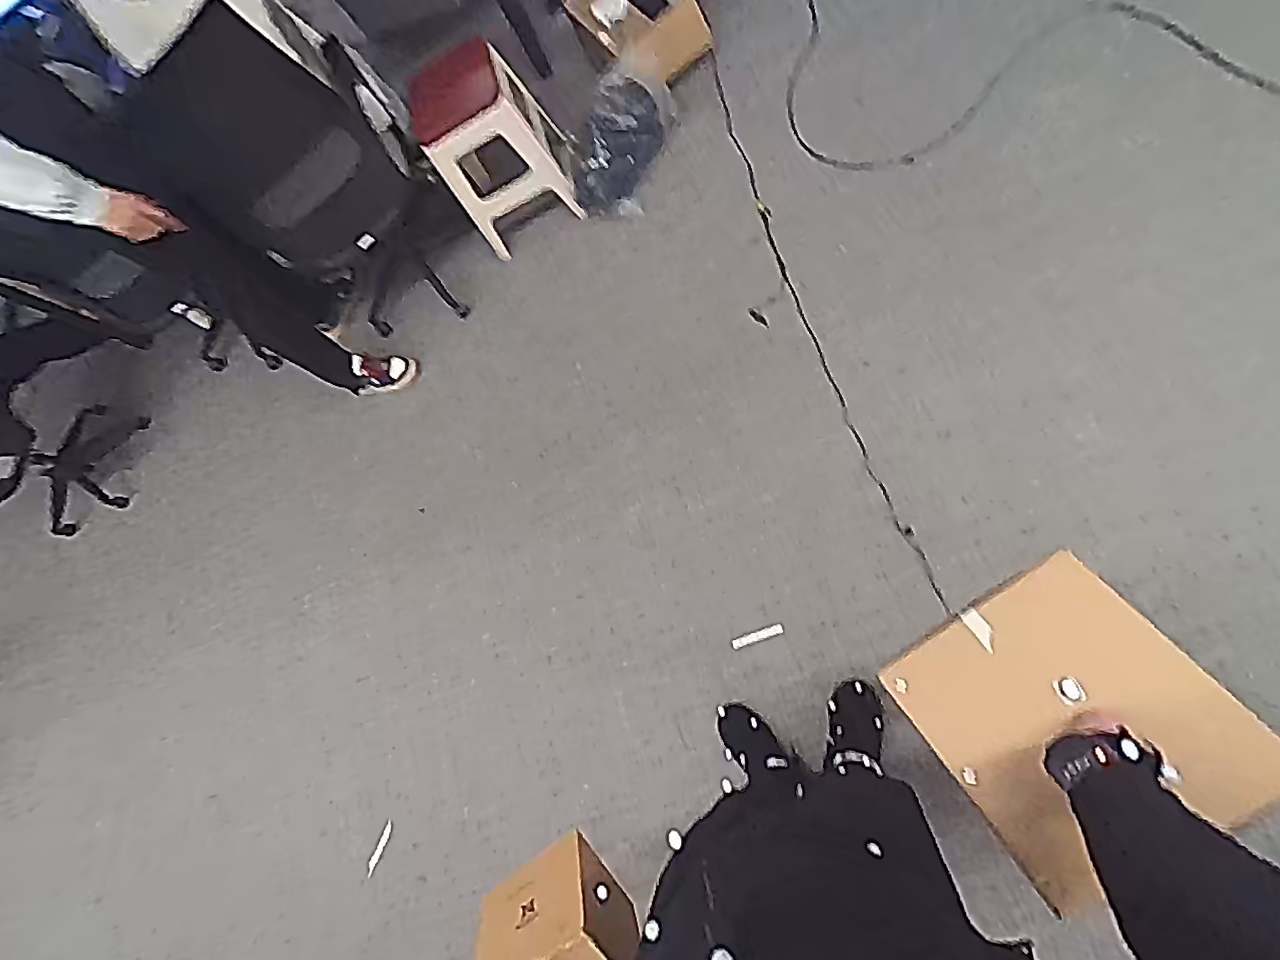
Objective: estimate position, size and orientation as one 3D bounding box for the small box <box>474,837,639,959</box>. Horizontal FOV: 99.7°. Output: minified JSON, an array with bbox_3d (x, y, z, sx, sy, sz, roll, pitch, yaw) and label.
[{"bbox_3d":[-0.107,0.650,0.730,0.168,0.179,0.176,-33,99,-6],"label":"small box"}]
